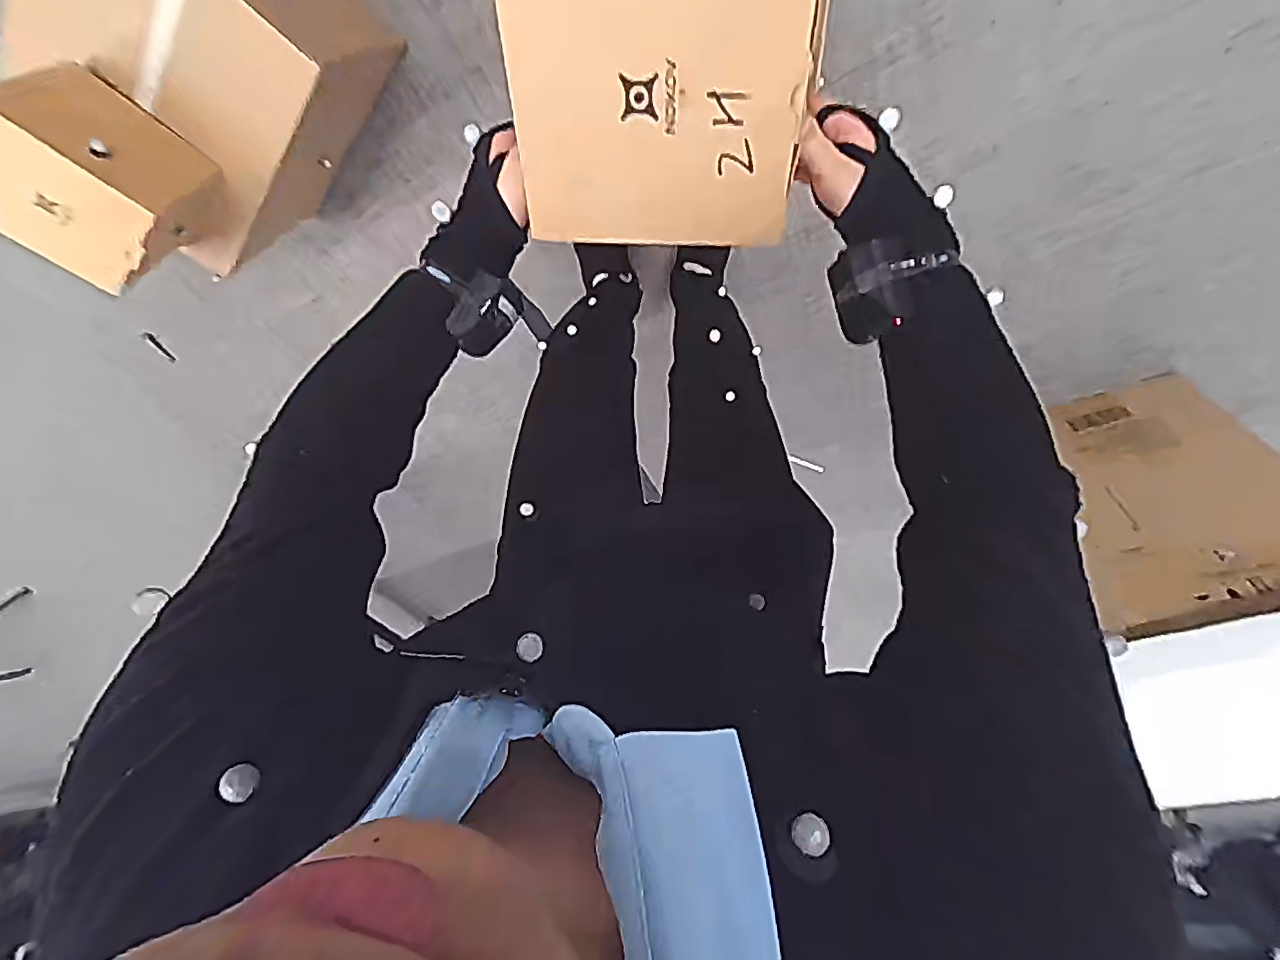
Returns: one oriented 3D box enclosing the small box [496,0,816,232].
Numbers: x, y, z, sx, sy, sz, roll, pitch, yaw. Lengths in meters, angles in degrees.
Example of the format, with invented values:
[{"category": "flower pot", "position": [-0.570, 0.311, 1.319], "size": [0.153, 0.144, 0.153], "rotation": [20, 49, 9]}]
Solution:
[{"category": "small box", "position": [0.017, -0.288, 0.372], "size": [0.179, 0.176, 0.168], "rotation": [4, 135, 5]}]
